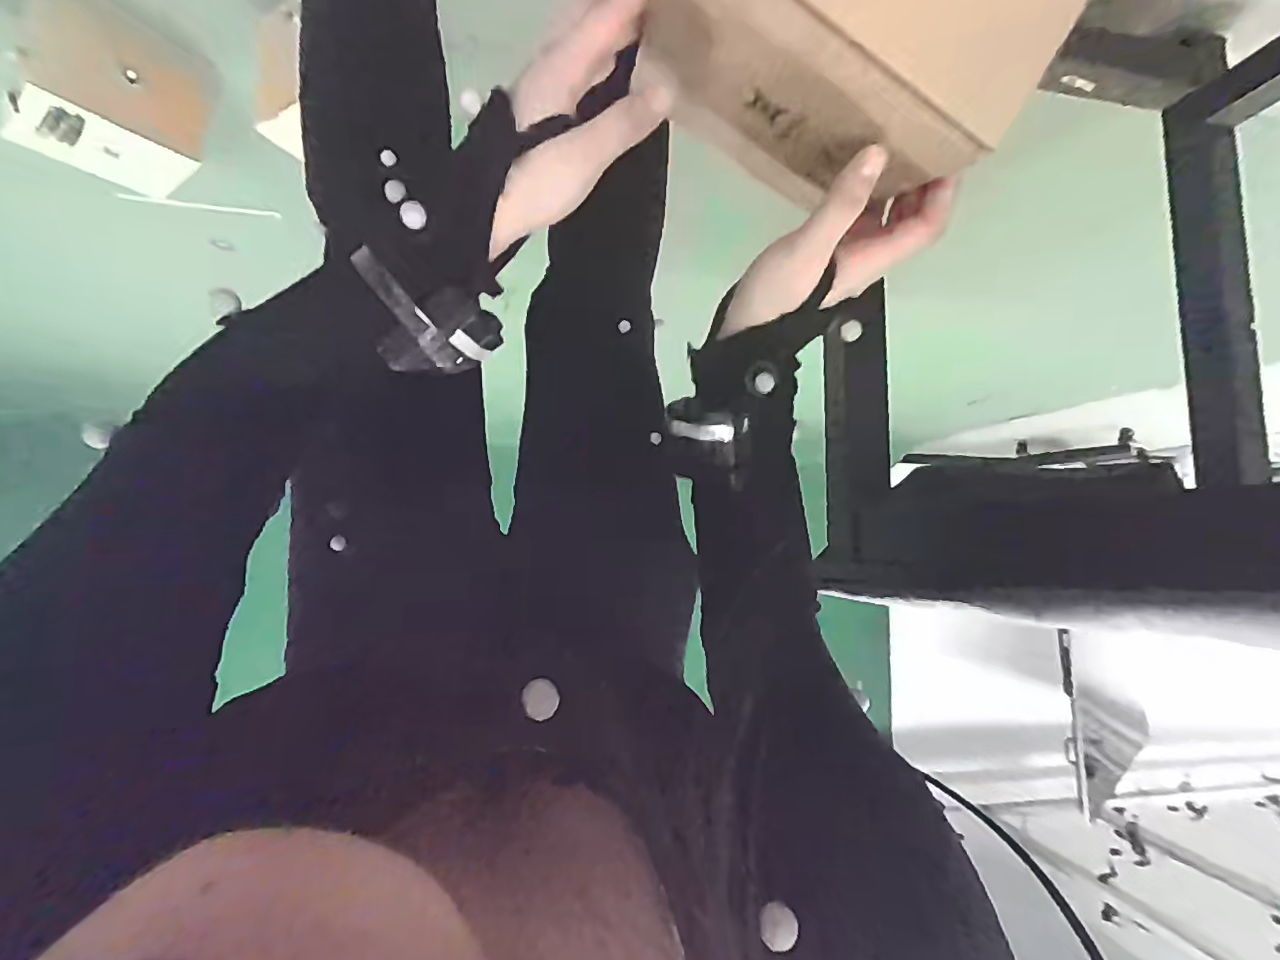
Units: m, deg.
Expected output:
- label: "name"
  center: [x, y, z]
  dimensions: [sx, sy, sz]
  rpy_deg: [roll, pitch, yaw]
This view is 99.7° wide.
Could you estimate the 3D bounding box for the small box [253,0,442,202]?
- label: "small box"
  center: [-0.405, -0.540, 0.771]
  dimensions: [0.168, 0.176, 0.179]
  rpy_deg: [-2, 173, 25]
